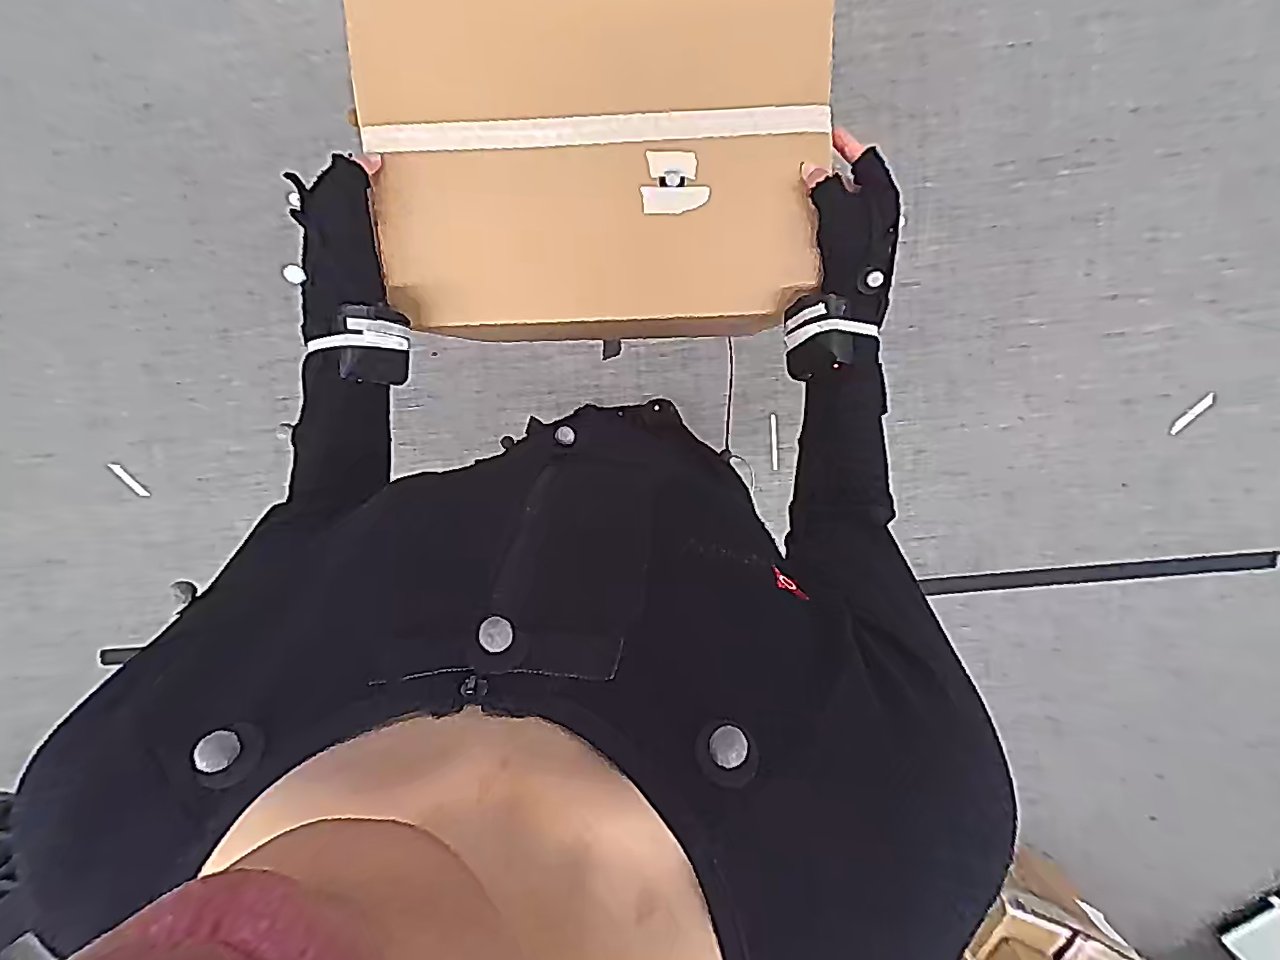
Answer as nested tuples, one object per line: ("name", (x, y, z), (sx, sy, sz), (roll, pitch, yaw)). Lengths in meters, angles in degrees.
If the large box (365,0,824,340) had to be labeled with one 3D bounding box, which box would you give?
("large box", (-0.035, -0.340, 0.633), (0.408, 0.320, 0.320), (-2, 102, 0))
